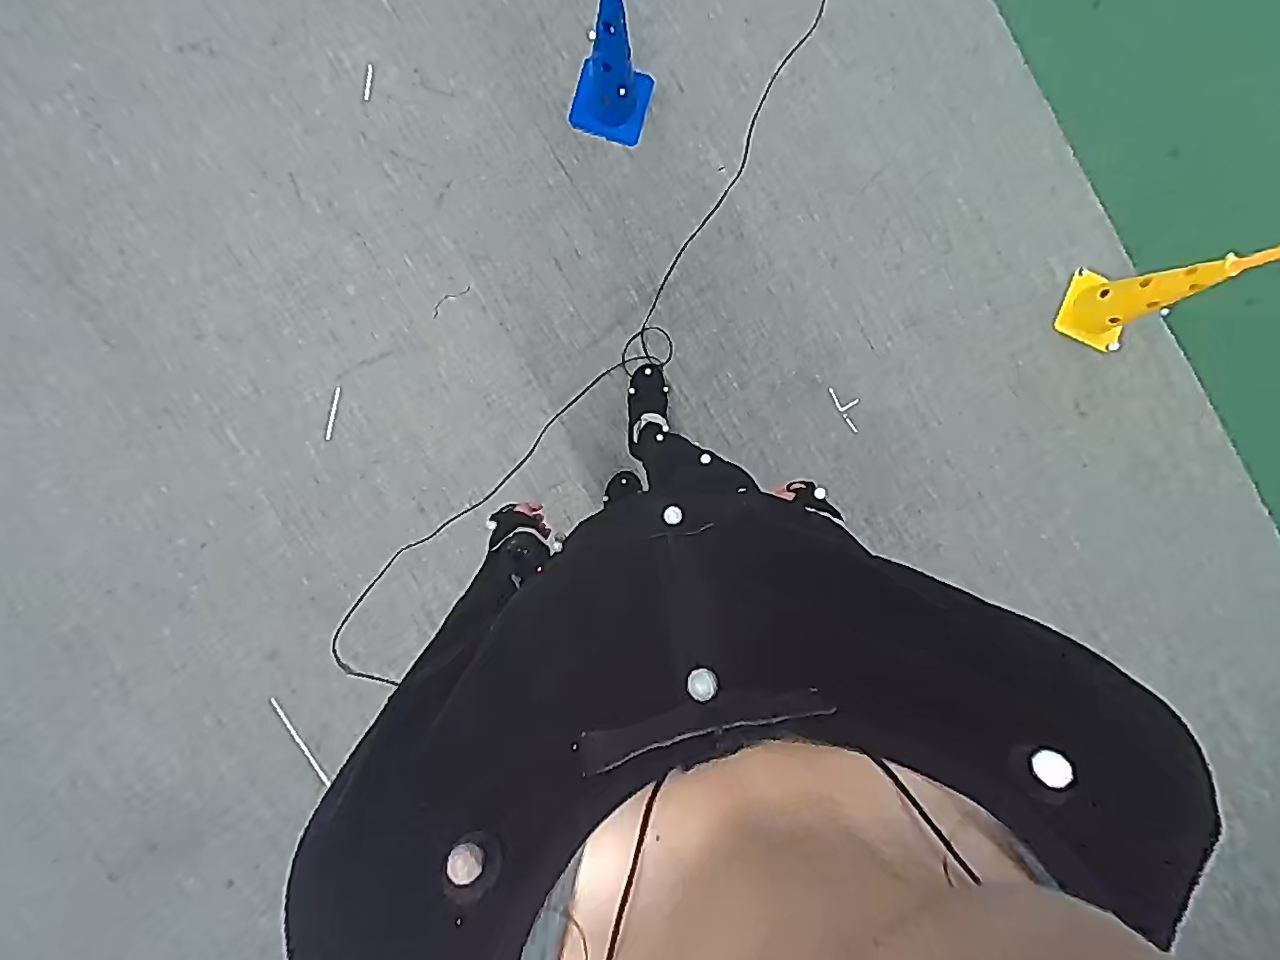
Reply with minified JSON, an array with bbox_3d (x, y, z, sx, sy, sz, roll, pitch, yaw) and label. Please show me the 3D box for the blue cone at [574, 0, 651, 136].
[{"bbox_3d":[-0.069,-1.028,1.292,0.193,0.380,0.192,14,91,-2],"label":"blue cone"}]
